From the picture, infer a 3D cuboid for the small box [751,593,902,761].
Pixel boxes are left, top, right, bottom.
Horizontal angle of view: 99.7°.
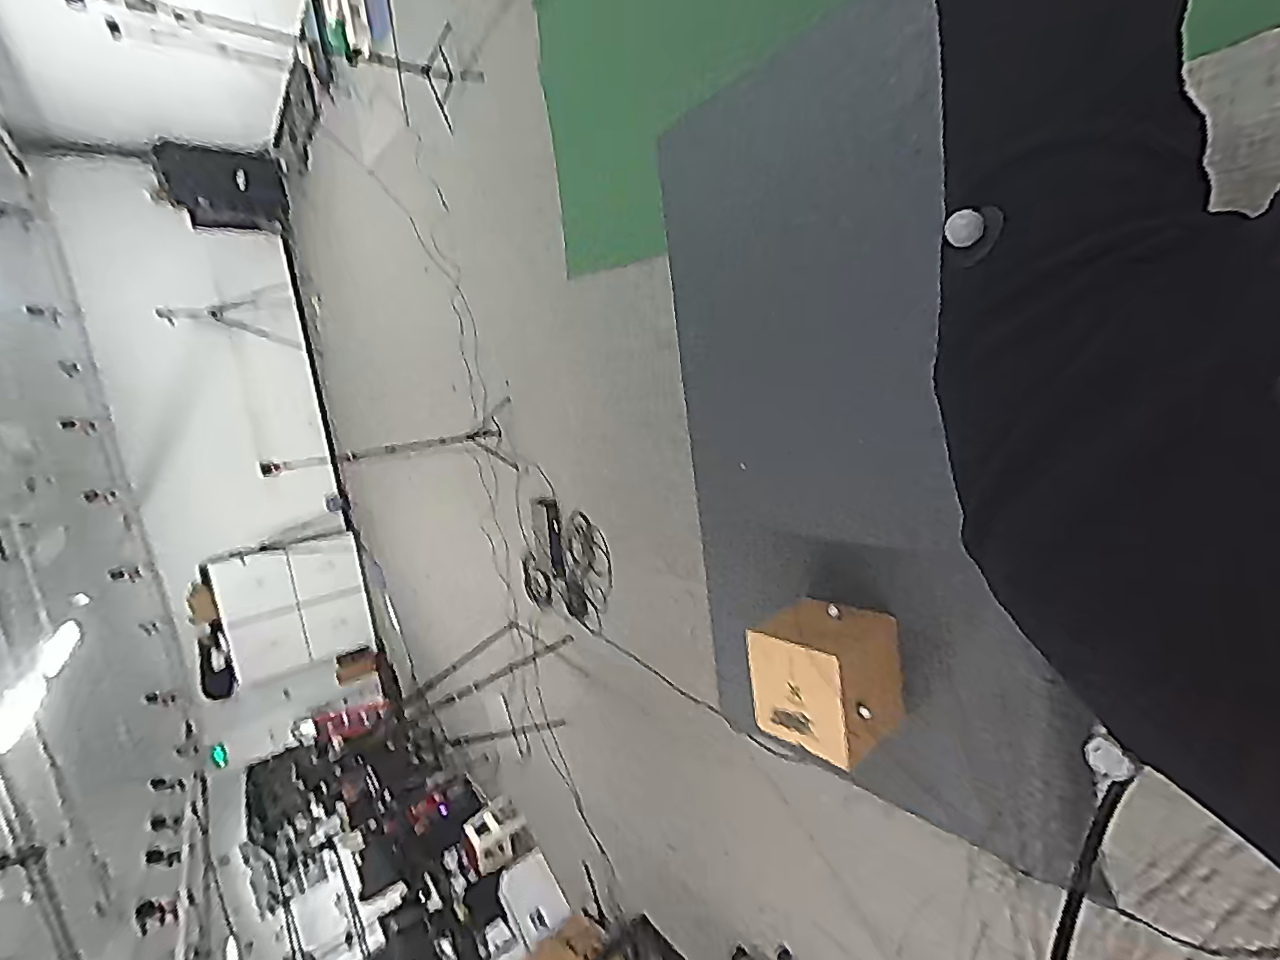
[{"bbox_3d":[0.305,0.304,0.875,0.168,0.176,0.179,1,102,52],"label":"small box"}]
